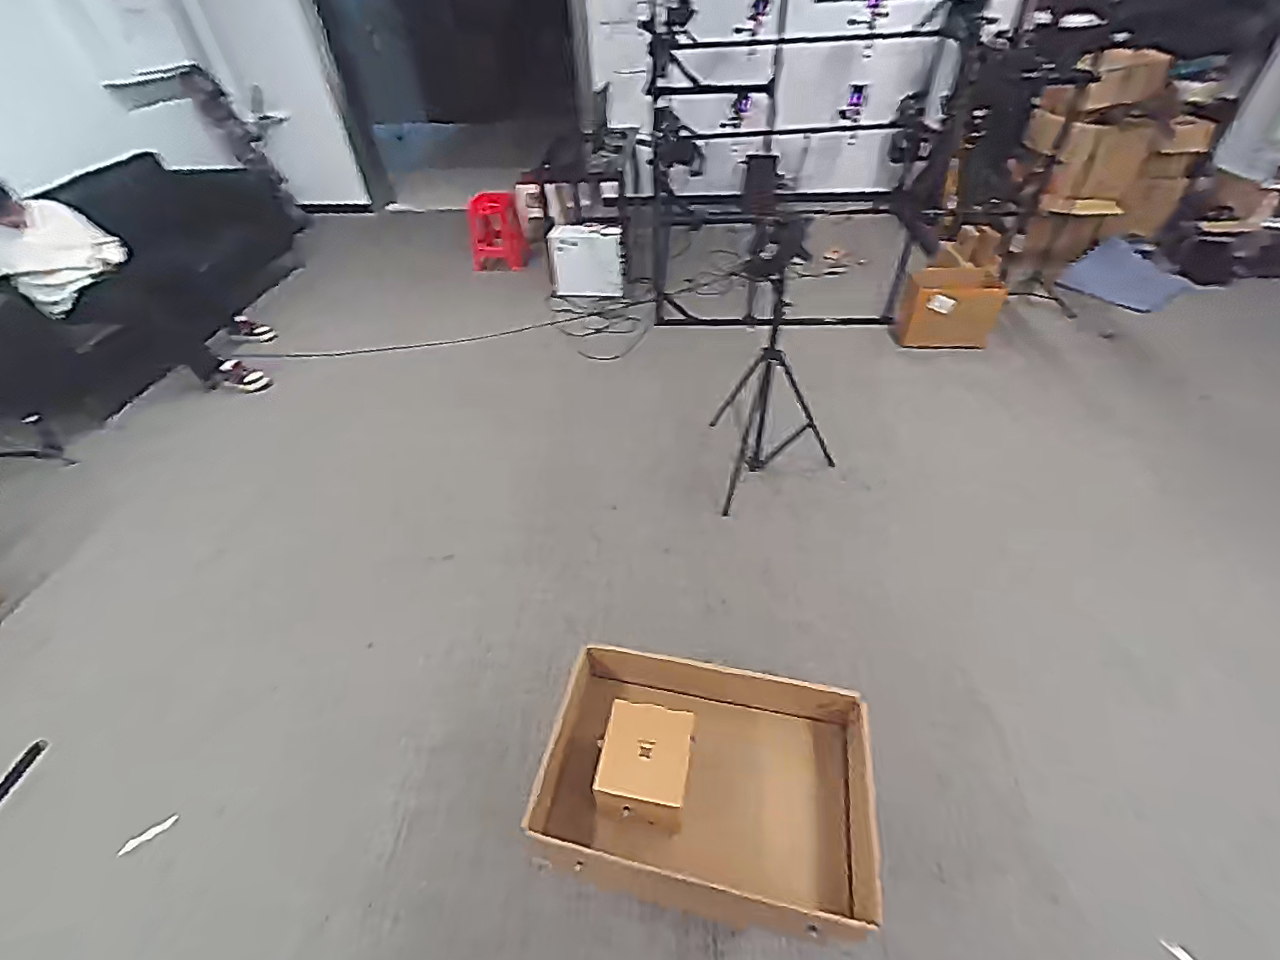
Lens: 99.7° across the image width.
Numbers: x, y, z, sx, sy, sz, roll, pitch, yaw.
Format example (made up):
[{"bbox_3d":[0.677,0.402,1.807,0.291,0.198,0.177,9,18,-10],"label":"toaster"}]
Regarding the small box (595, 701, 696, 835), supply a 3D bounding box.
[{"bbox_3d":[0.020,0.574,1.074,0.168,0.176,0.179,6,43,10],"label":"small box"}]
